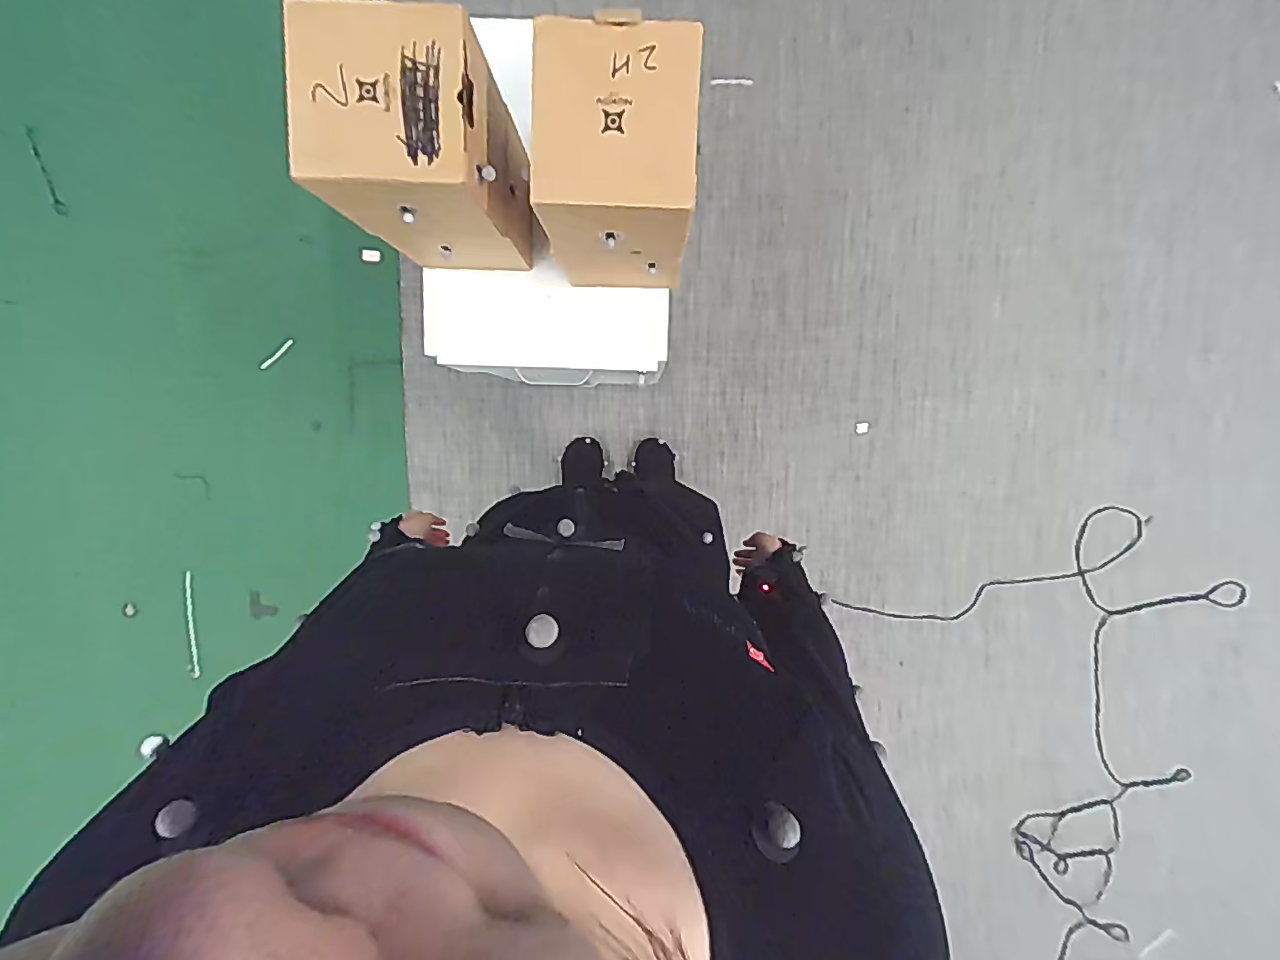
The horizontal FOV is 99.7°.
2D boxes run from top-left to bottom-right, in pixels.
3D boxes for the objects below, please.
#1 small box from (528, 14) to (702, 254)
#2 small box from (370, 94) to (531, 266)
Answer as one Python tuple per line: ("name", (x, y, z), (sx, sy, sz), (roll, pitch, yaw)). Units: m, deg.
("small box", (-0.025, -0.368, 0.609), (0.168, 0.176, 0.179), (3, 96, -1))
("small box", (-0.257, -0.412, 0.770), (0.179, 0.176, 0.168), (1, 97, -2))
